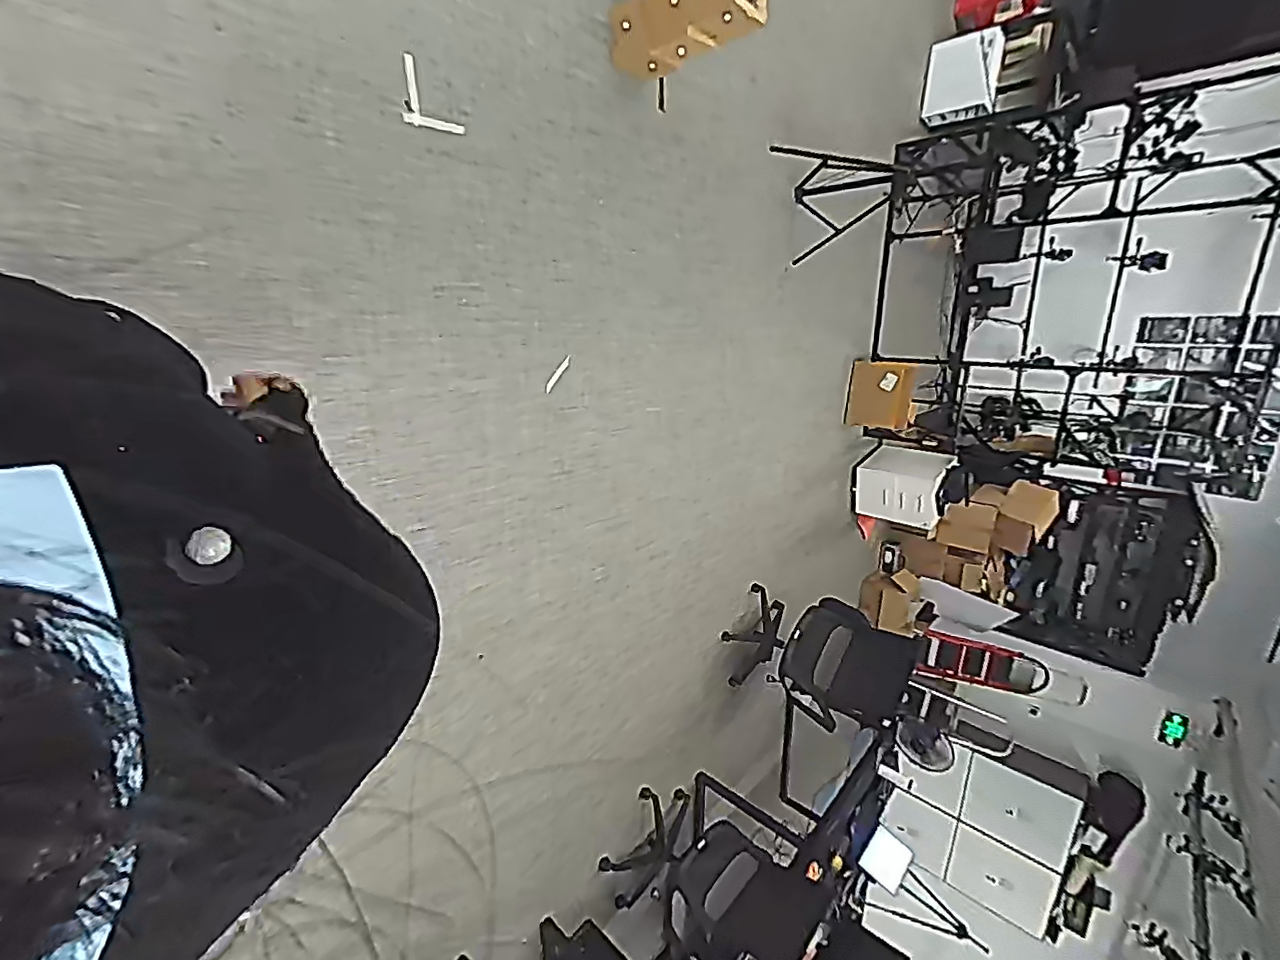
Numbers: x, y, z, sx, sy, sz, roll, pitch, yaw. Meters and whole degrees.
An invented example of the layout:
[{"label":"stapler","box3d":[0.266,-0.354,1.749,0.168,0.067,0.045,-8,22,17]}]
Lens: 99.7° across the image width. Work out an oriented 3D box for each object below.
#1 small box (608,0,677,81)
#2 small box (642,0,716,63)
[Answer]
[{"label":"small box","box3d":[0.009,-1.483,1.819,0.179,0.176,0.168,-13,111,-47]},{"label":"small box","box3d":[0.122,-1.456,1.705,0.168,0.176,0.179,-24,117,-43]}]
